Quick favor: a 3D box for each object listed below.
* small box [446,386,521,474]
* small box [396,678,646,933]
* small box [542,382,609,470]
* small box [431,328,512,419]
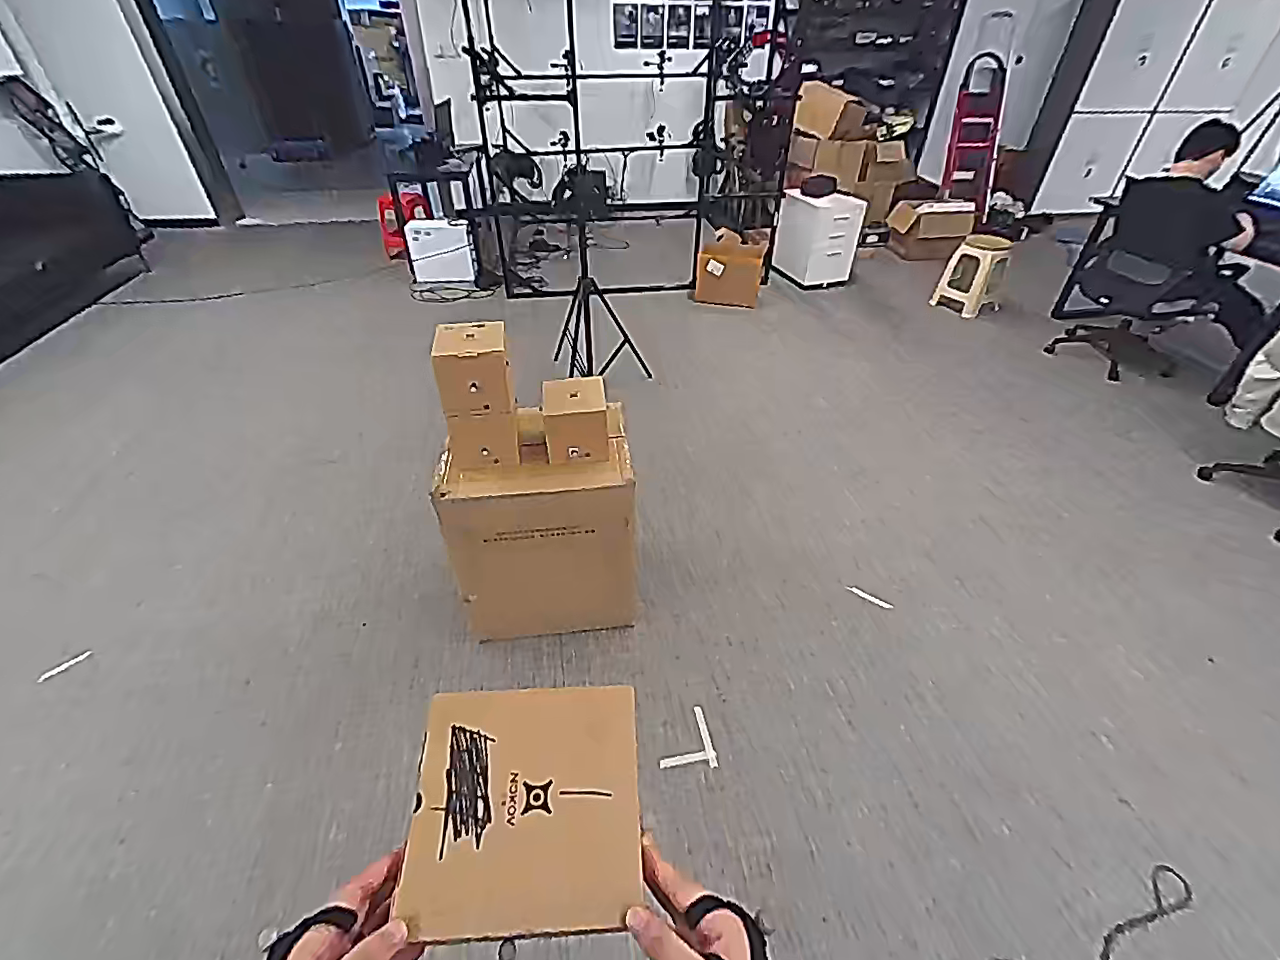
[{"bbox_3d":[-0.419,-0.137,1.469,0.168,0.176,0.179,-5,40,-8],"label":"small box"},{"bbox_3d":[-0.087,0.292,0.484,0.179,0.176,0.168,-1,49,-4],"label":"small box"},{"bbox_3d":[-0.176,-0.149,1.487,0.168,0.176,0.179,-7,41,-5],"label":"small box"},{"bbox_3d":[-0.418,-0.265,1.366,0.168,0.176,0.179,-6,41,-9],"label":"small box"}]
